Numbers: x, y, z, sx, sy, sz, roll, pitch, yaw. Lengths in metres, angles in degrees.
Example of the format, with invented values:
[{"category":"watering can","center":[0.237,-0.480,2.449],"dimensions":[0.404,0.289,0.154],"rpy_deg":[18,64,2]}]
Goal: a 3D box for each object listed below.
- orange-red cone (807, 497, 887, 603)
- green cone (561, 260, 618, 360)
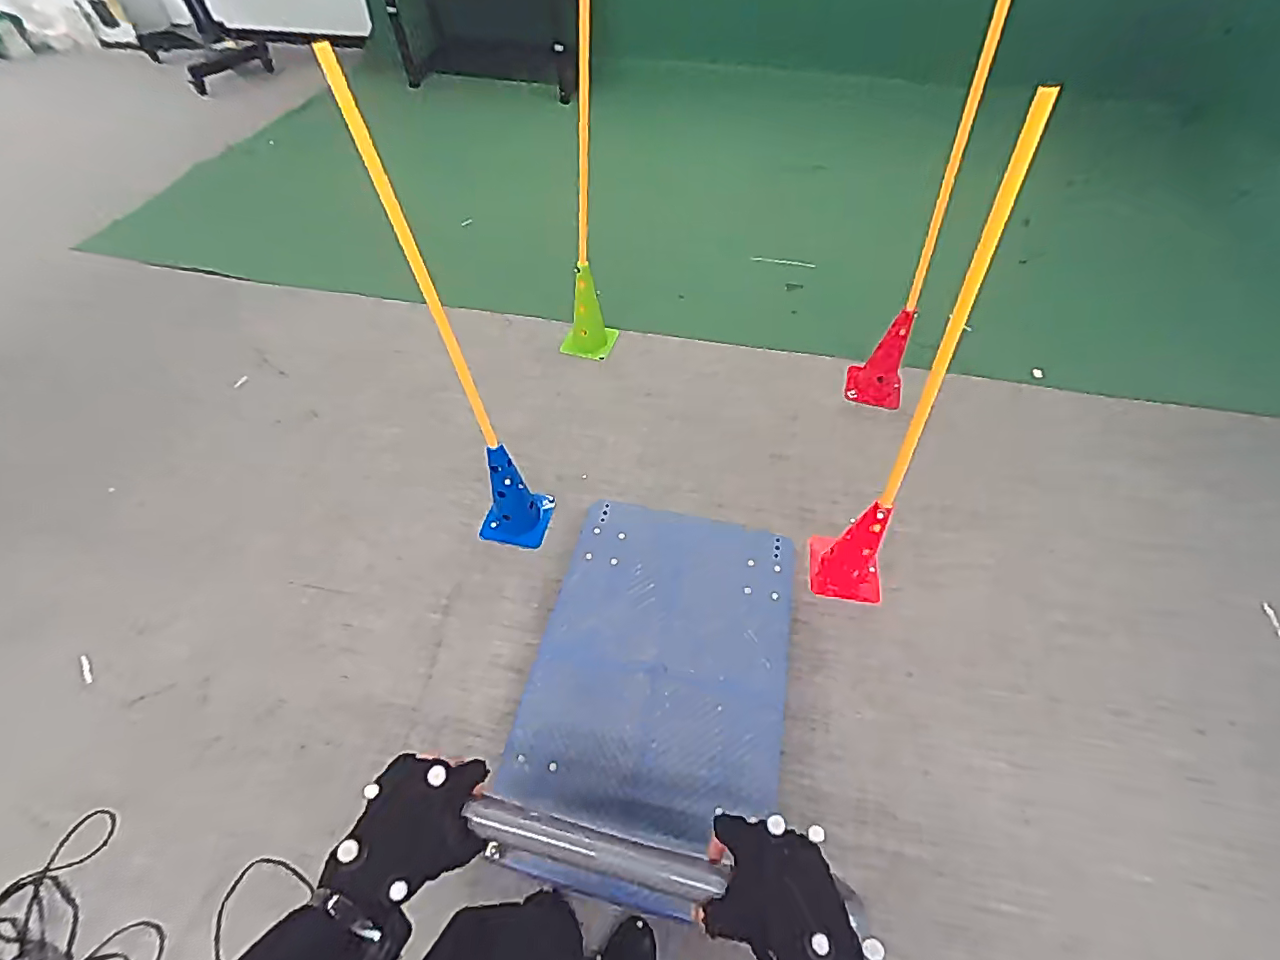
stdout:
[{"category":"orange-red cone","center":[0.600,0.165,1.486],"dimensions":[0.199,0.360,0.198],"rpy_deg":[8,53,8]},{"category":"green cone","center":[-0.208,-0.678,2.101],"dimensions":[0.202,0.368,0.200],"rpy_deg":[13,54,10]}]
